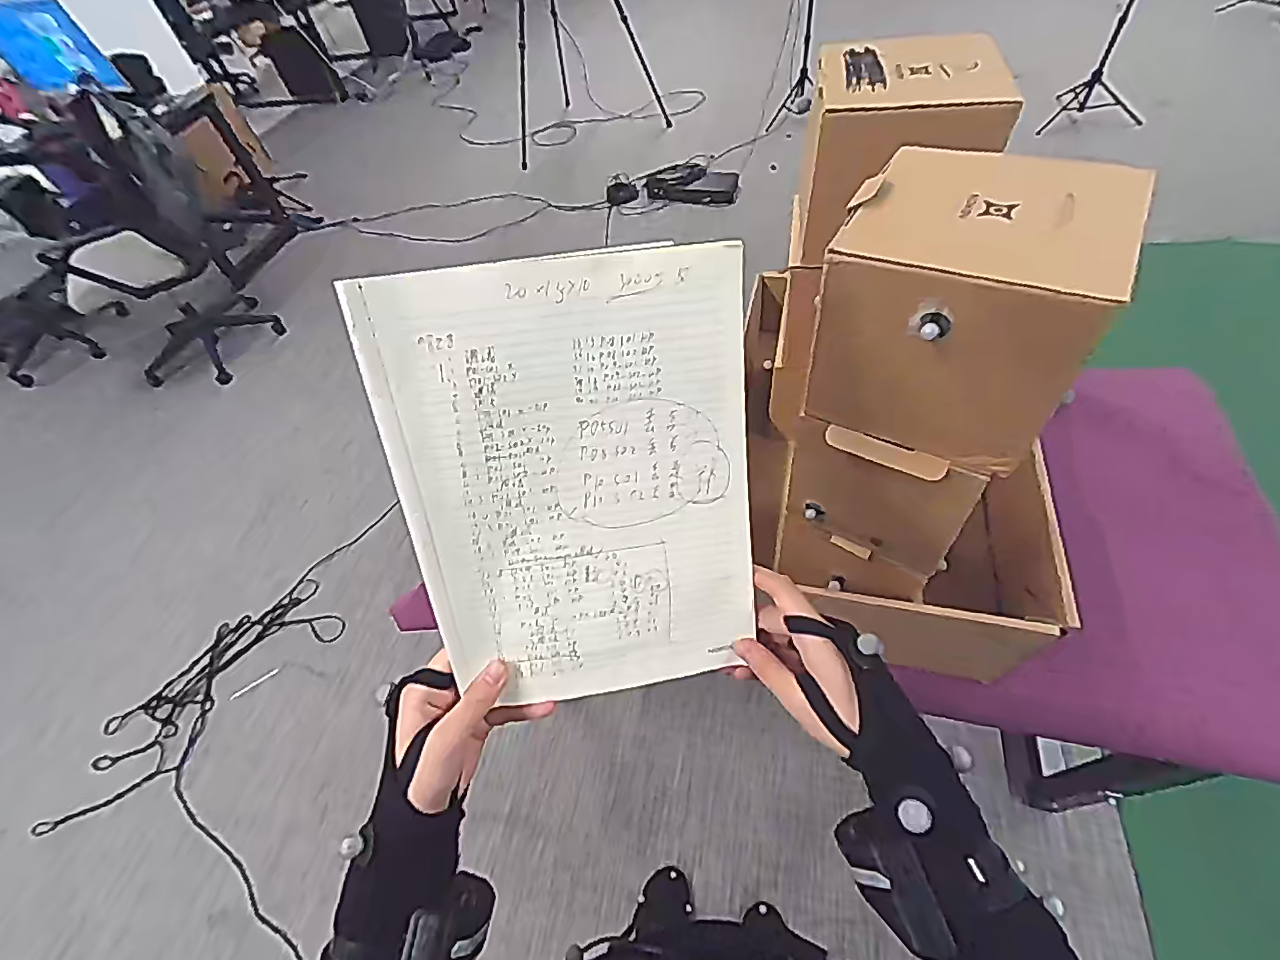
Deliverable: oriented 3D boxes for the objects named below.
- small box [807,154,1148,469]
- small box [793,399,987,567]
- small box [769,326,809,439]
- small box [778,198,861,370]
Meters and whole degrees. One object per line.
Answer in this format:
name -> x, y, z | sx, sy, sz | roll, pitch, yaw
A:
small box -> 0.251, -0.135, 0.439 | 0.179, 0.176, 0.168 | 23, 60, 25
small box -> 0.272, -0.039, 0.568 | 0.168, 0.176, 0.179 | 25, 60, 27
small box -> 0.303, -0.171, 0.875 | 0.168, 0.176, 0.179 | 8, 57, 14
small box -> 0.286, -0.262, 0.742 | 0.179, 0.176, 0.168 | 6, 56, 13
